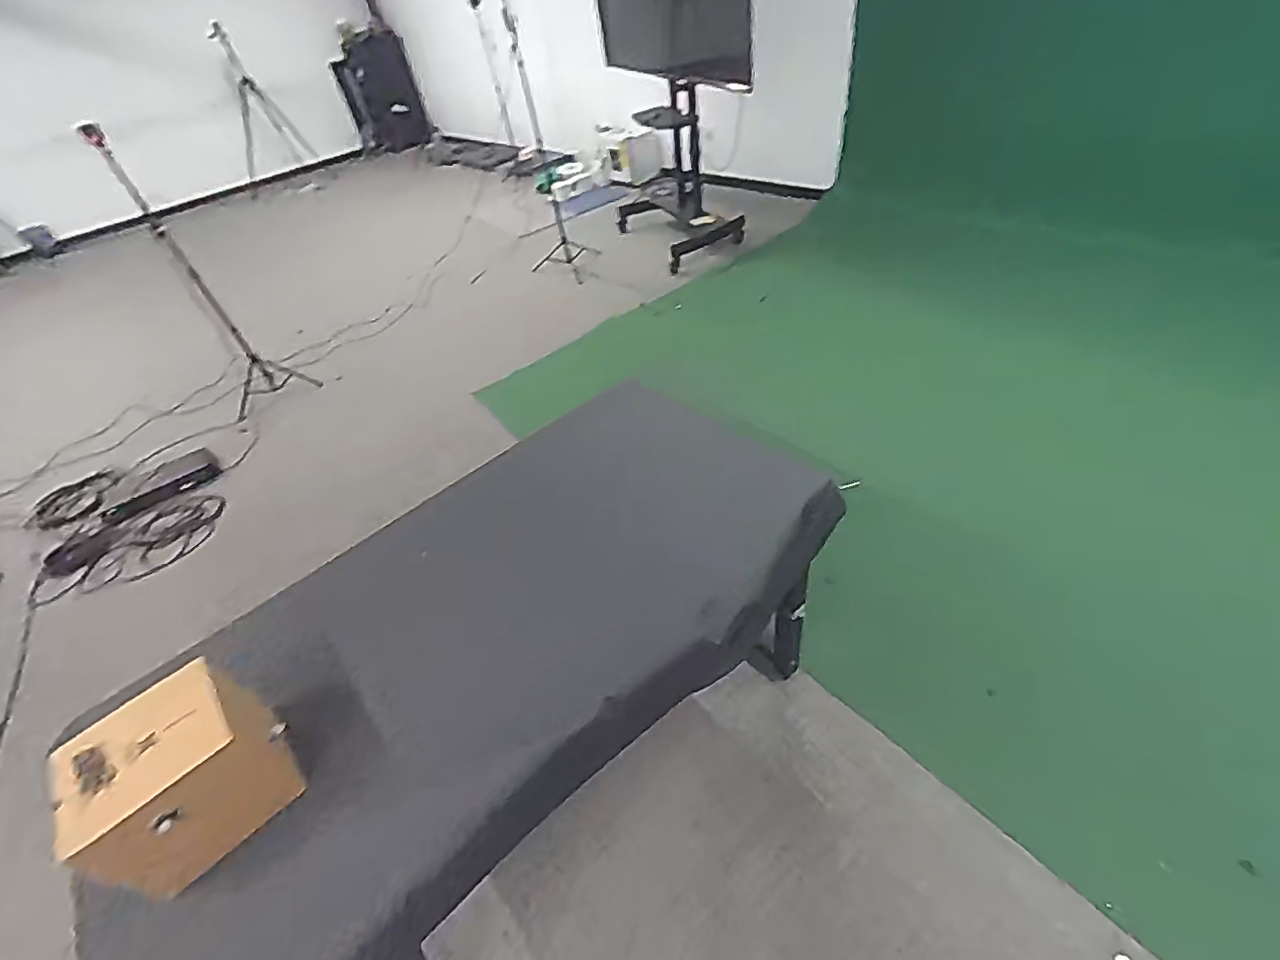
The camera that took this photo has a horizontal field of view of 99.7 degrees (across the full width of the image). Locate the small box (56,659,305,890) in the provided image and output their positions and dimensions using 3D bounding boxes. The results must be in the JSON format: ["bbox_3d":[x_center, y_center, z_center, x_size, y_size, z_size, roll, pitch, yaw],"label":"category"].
[{"bbox_3d":[-0.583,0.380,0.700,0.179,0.176,0.168,-36,49,-27],"label":"small box"}]
